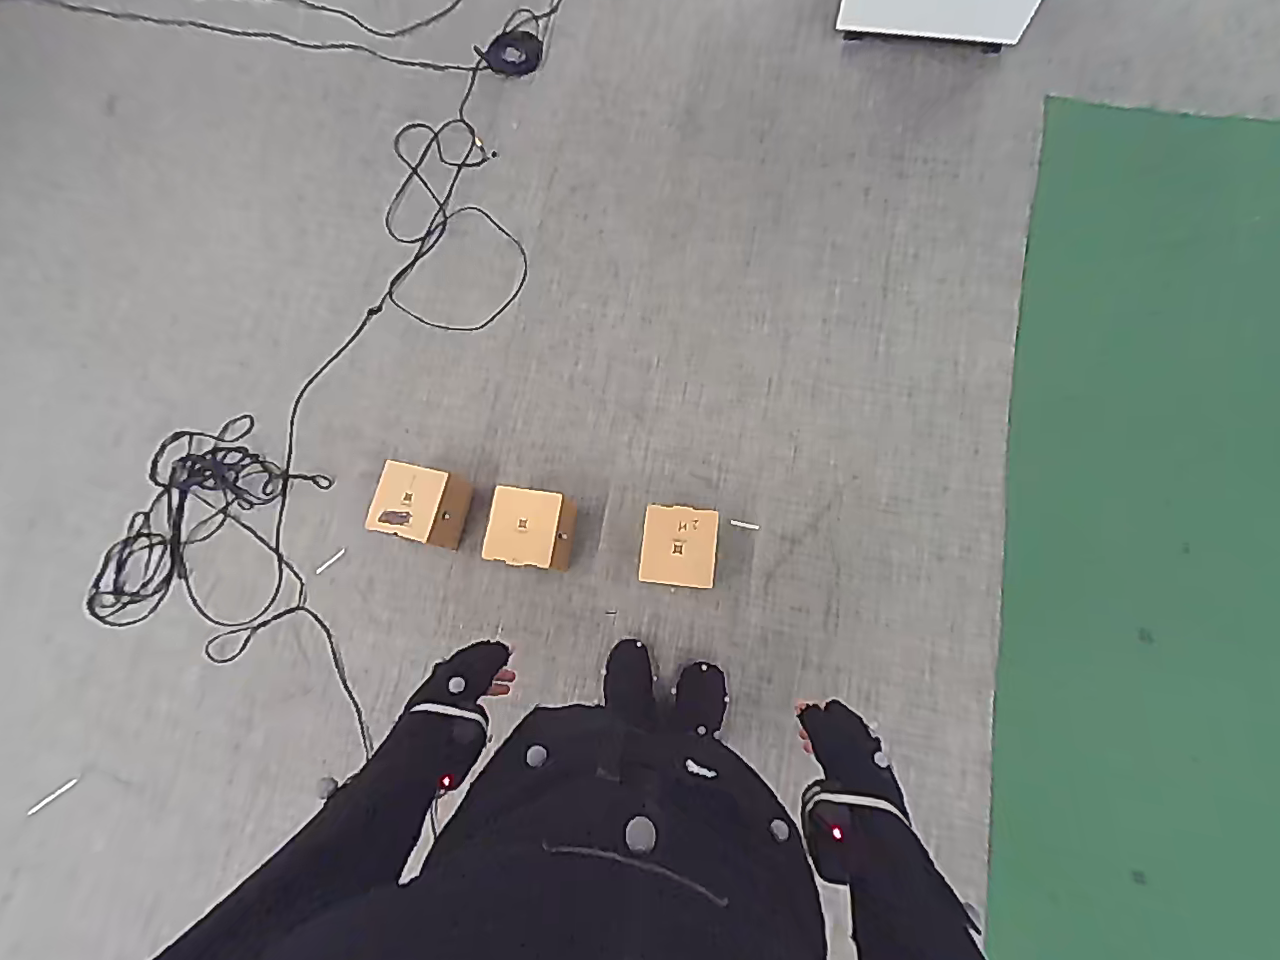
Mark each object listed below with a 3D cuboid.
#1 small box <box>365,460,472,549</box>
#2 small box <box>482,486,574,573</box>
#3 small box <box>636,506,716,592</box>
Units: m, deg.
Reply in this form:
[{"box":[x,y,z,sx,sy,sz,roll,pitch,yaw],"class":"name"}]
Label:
[{"box":[-0.549,0.070,1.369,0.168,0.176,0.179,13,77,8],"class":"small box"},{"box":[-0.267,0.127,1.331,0.168,0.176,0.179,7,79,7],"class":"small box"},{"box":[0.088,0.169,1.288,0.168,0.176,0.179,6,78,6],"class":"small box"}]
